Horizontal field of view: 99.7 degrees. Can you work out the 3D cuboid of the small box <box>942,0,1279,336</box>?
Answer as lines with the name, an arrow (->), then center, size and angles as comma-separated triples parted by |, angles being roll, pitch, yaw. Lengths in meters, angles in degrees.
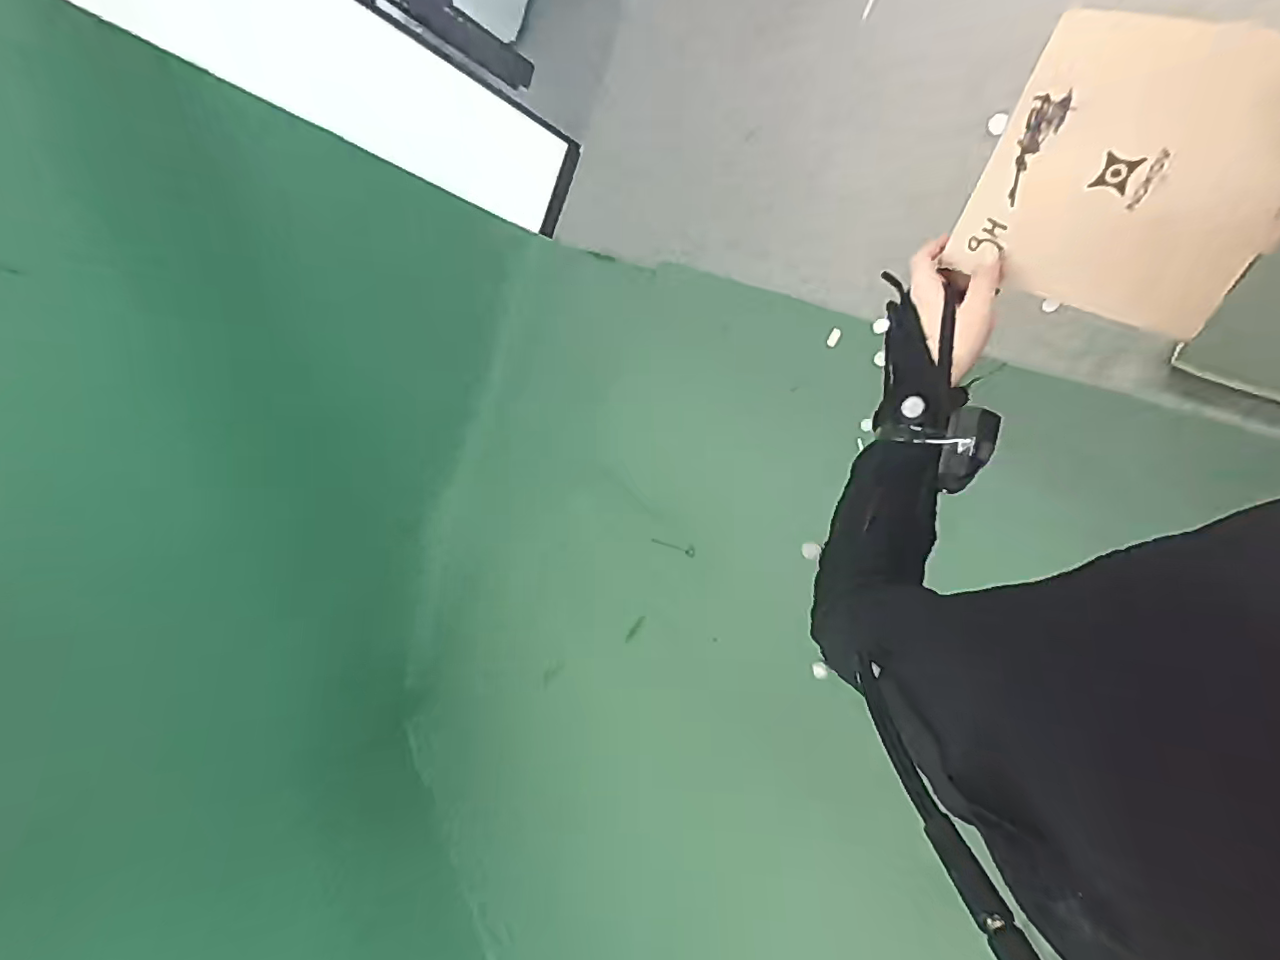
small box -> 0.374, -0.229, 0.416 | 0.179, 0.176, 0.168 | 32, 125, 24
